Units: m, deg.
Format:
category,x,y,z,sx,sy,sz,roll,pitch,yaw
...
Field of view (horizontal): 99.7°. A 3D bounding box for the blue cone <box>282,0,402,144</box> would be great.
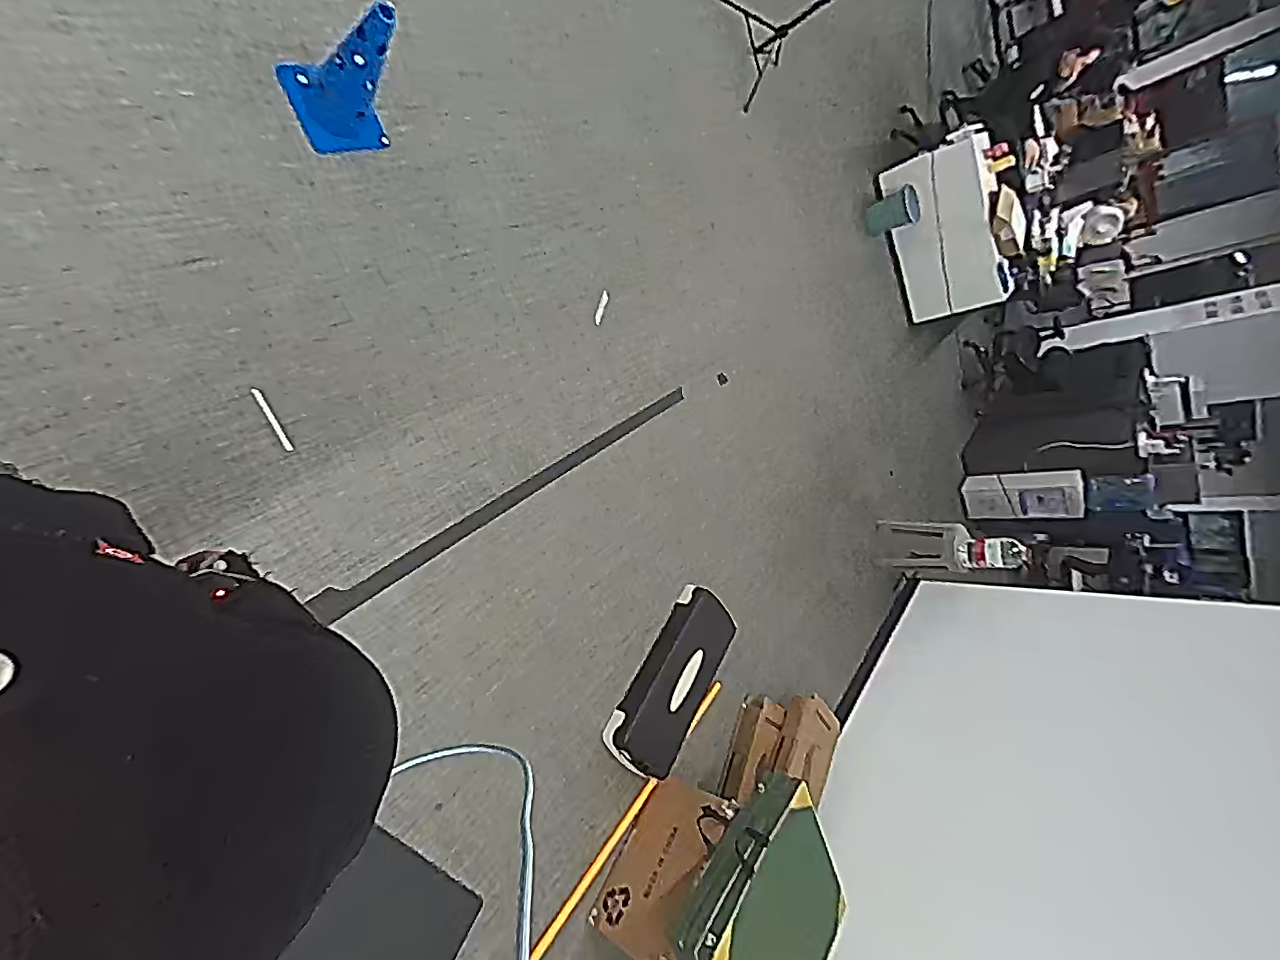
category,x,y,z,sx,sy,sz,roll,pitch,yaw
blue cone,-0.631,-0.936,1.207,0.192,0.380,0.193,-35,111,-41
